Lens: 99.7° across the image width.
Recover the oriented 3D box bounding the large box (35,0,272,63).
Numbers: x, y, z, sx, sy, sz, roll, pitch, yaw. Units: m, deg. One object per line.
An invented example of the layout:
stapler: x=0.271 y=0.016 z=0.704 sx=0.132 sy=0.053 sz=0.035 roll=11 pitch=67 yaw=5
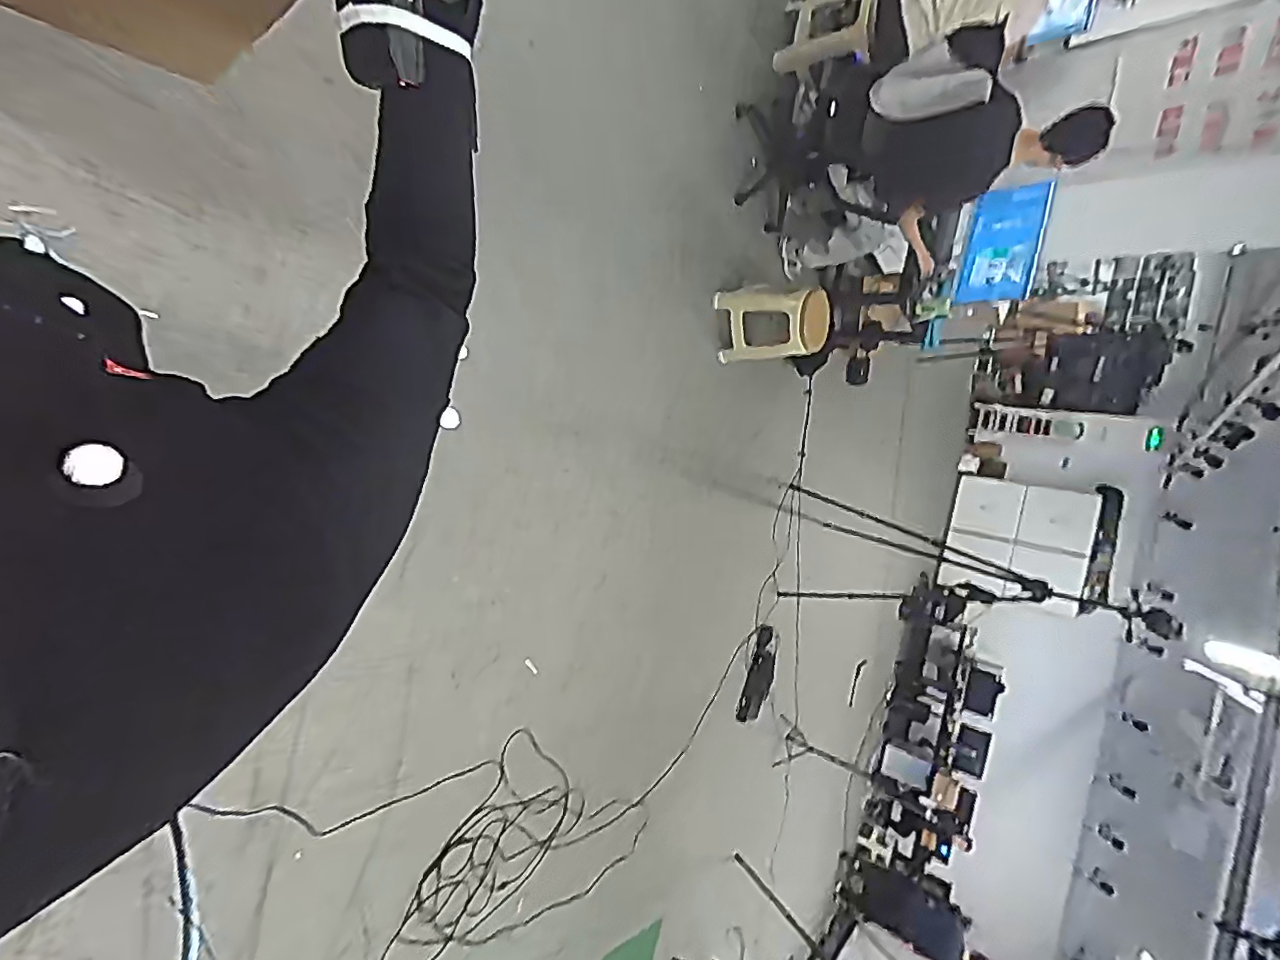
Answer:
large box: x=-0.409 y=-0.482 z=0.239 sx=0.408 sy=0.320 sz=0.320 roll=-7 pitch=110 yaw=-47
